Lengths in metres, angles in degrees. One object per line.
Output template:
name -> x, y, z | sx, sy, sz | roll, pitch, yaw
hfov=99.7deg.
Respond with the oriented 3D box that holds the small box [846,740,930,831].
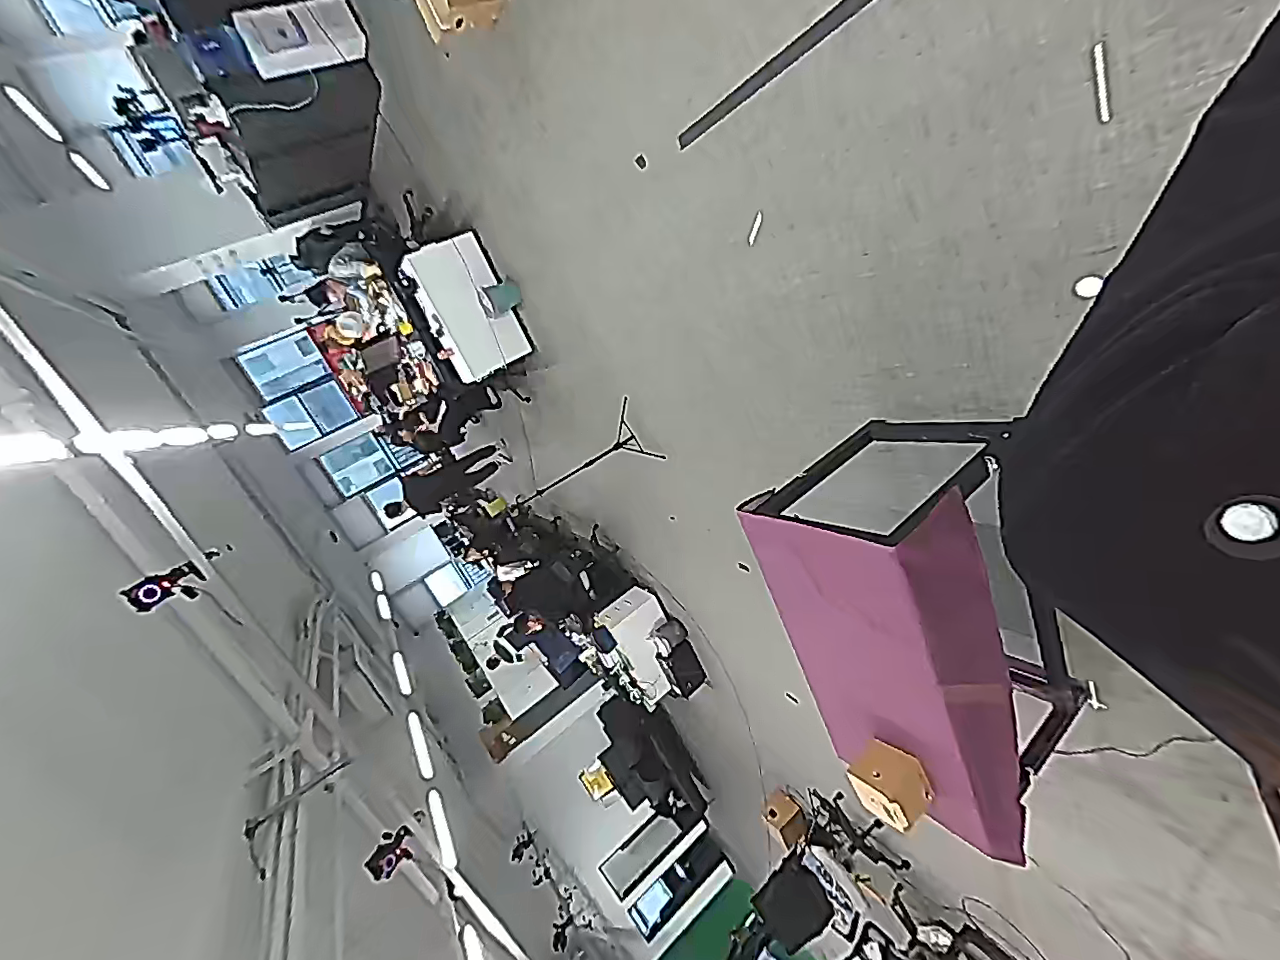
small box -> 0.834, 1.010, 1.807 | 0.168, 0.176, 0.179 | 62, 158, -11
